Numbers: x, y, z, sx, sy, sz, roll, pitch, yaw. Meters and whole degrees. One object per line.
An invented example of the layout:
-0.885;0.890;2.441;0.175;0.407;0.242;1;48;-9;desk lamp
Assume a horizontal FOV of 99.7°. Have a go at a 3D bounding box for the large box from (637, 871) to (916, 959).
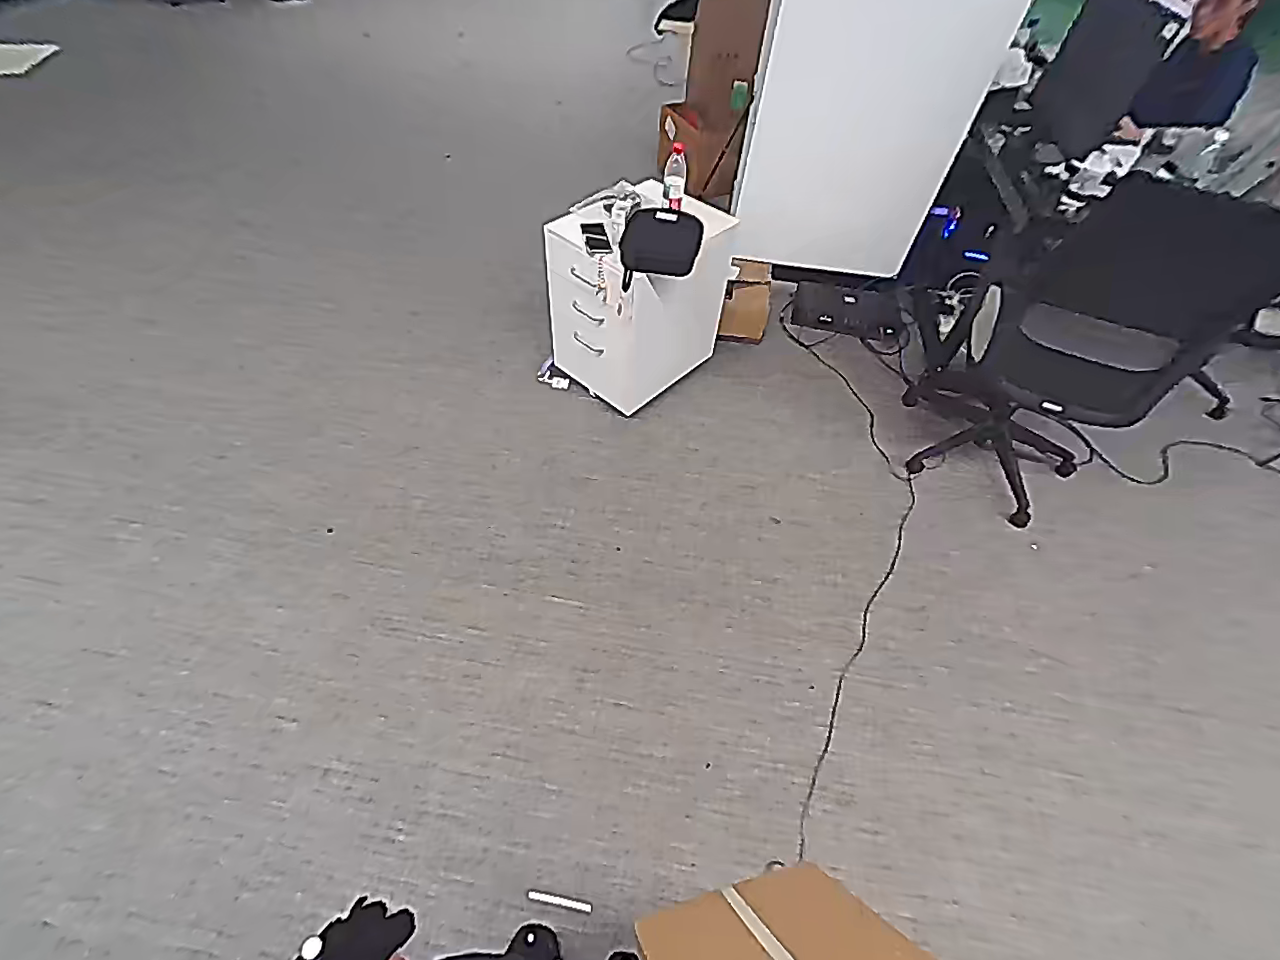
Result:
0.207;0.766;0.650;0.320;0.408;0.320;-8;78;-14;large box
